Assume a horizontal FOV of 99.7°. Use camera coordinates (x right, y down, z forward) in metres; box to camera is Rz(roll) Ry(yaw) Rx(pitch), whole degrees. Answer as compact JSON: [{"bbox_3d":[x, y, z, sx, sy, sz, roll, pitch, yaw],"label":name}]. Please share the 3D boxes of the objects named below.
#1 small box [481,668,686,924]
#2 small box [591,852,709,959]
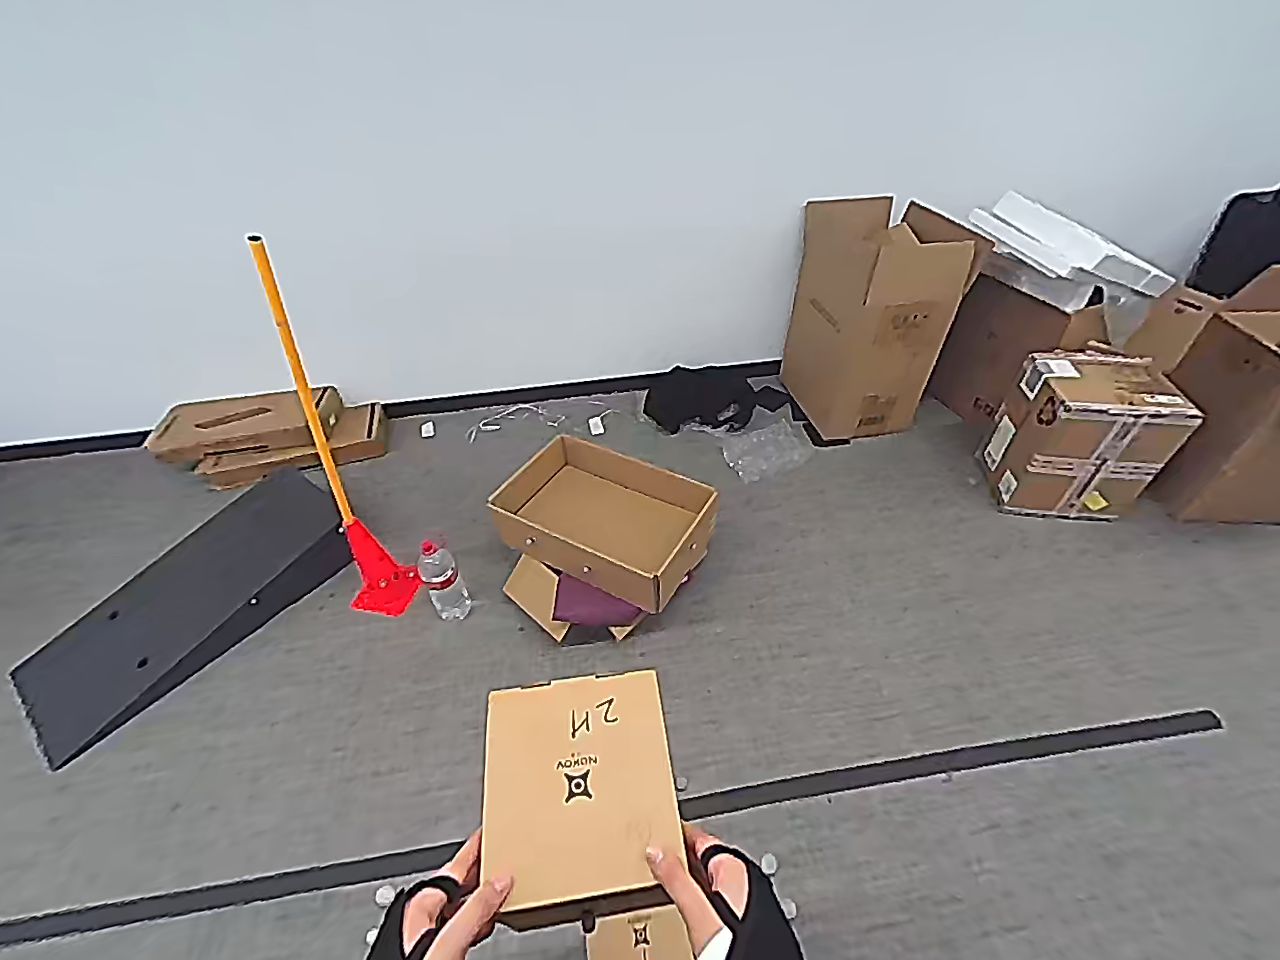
[{"bbox_3d":[-0.051,0.314,0.534,0.168,0.176,0.179,-7,46,-5],"label":"small box"},{"bbox_3d":[0.013,0.725,0.851,0.168,0.176,0.179,-8,42,-6],"label":"small box"}]
